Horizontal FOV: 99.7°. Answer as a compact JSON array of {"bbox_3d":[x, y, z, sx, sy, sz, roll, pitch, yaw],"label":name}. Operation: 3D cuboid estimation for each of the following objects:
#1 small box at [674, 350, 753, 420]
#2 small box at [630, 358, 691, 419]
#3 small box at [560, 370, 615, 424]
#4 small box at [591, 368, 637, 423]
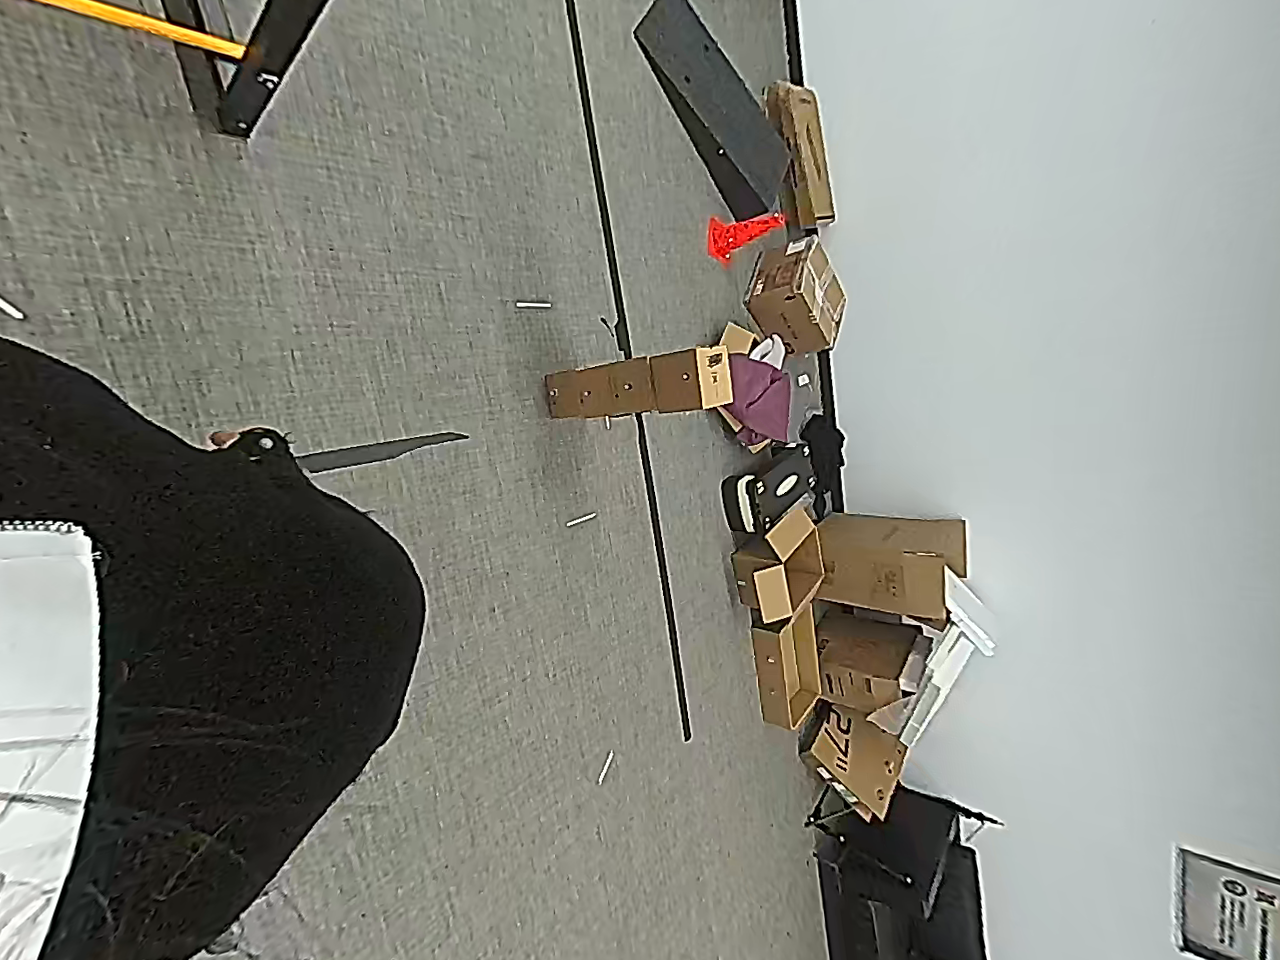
[{"bbox_3d":[0.216,-0.281,1.603,0.168,0.176,0.179,-21,106,-47],"label":"small box"},{"bbox_3d":[0.084,-0.286,1.704,0.179,0.176,0.168,-18,104,-47],"label":"small box"},{"bbox_3d":[-0.157,-0.298,1.927,0.179,0.176,0.168,-19,104,-46],"label":"small box"},{"bbox_3d":[-0.038,-0.287,1.813,0.179,0.176,0.168,-19,104,-47],"label":"small box"}]
